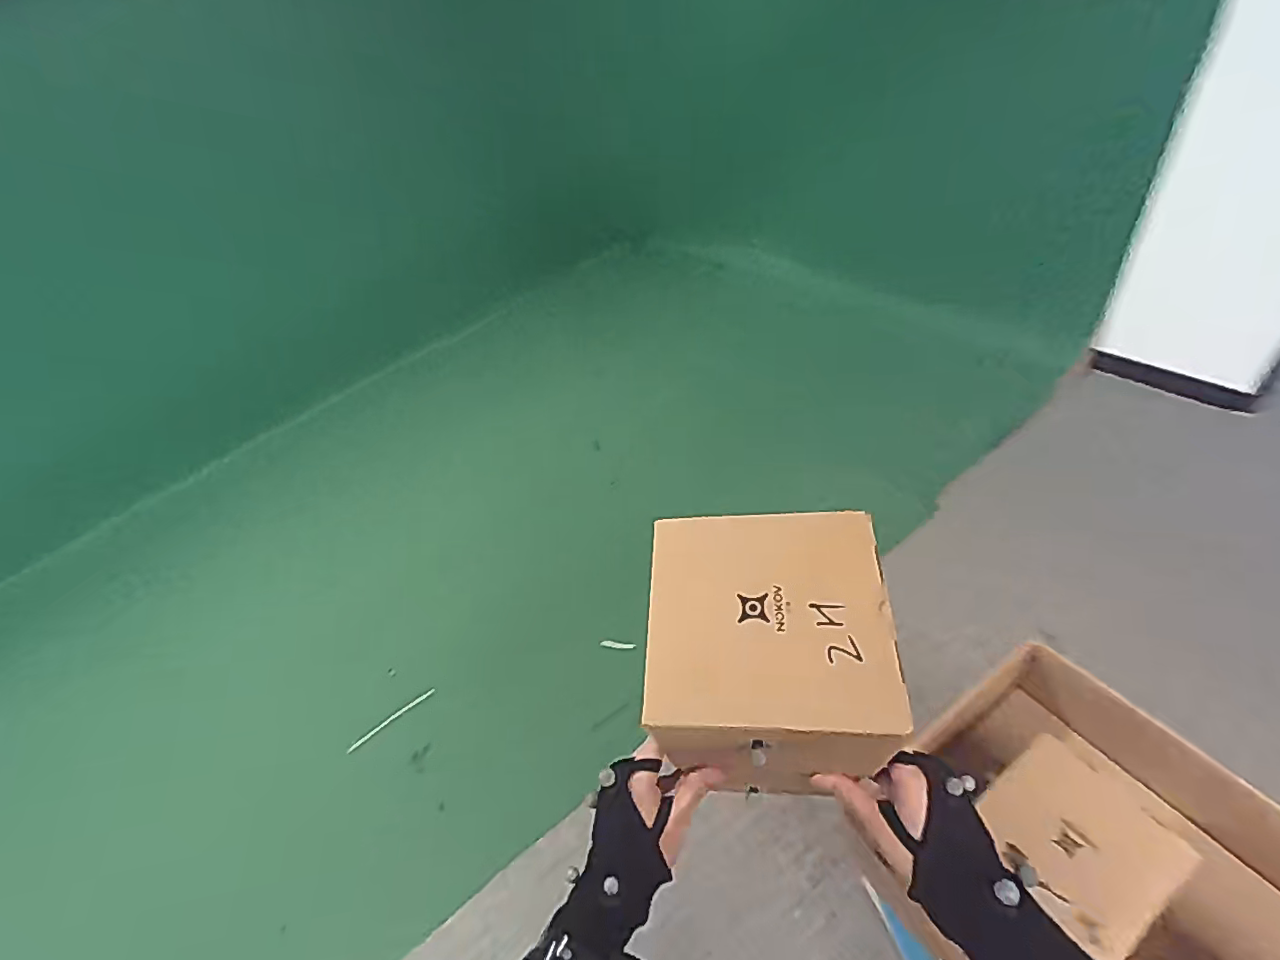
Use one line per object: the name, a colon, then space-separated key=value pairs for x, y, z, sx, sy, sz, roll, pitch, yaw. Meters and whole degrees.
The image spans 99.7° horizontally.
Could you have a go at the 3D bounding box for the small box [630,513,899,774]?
small box: x=0.098 y=0.144 z=0.460 sx=0.179 sy=0.176 sz=0.168 roll=-3 pitch=53 yaw=10

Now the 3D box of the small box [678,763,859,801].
small box: x=0.127 y=0.237 z=0.592 sx=0.168 sy=0.176 sz=0.179 roll=-4 pitch=53 yaw=10

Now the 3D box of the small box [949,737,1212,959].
small box: x=0.511 y=0.461 z=0.659 sx=0.179 sy=0.176 sz=0.168 roll=-32 pitch=45 yaw=-14
